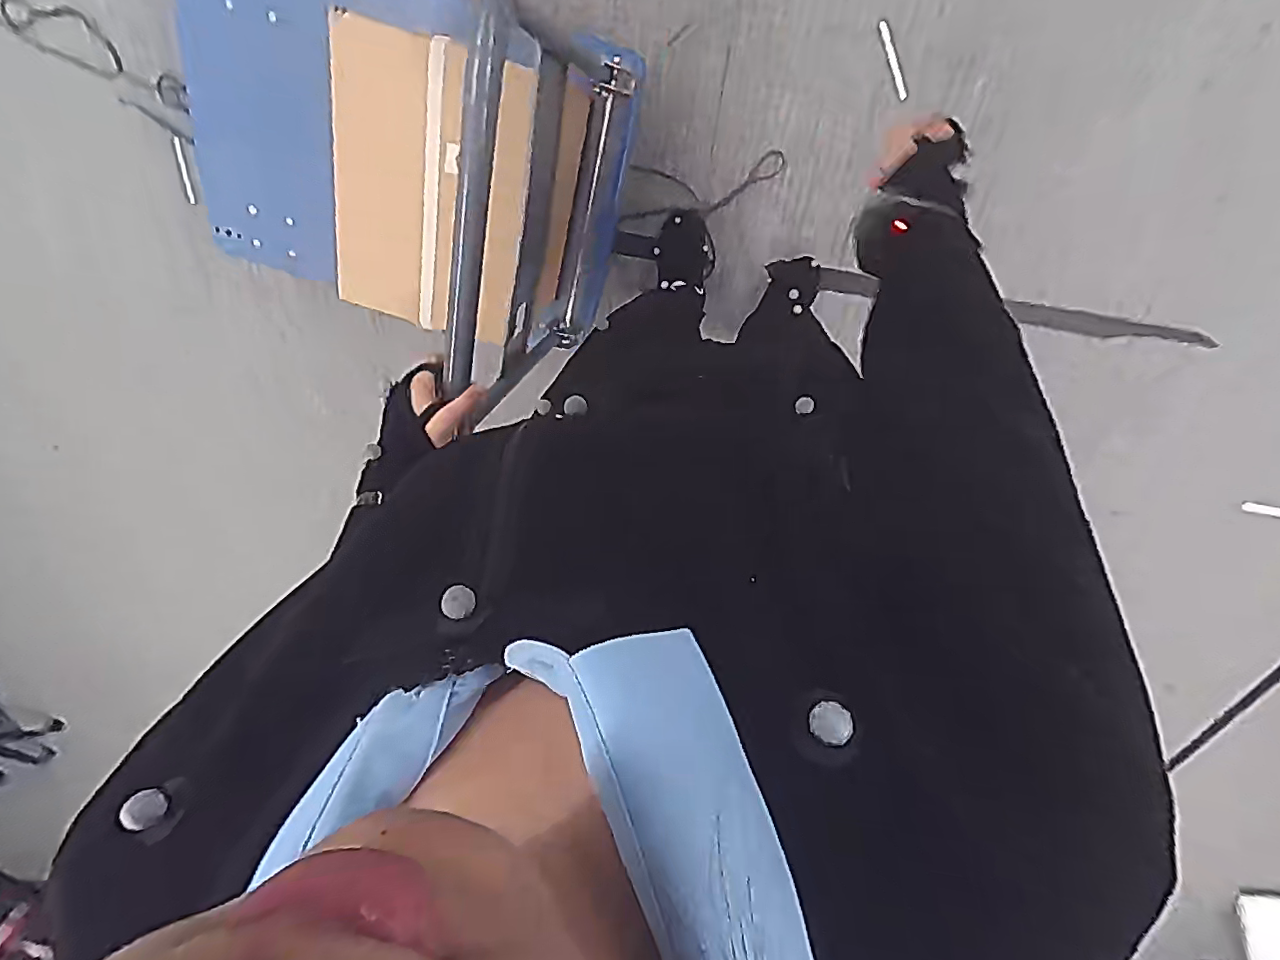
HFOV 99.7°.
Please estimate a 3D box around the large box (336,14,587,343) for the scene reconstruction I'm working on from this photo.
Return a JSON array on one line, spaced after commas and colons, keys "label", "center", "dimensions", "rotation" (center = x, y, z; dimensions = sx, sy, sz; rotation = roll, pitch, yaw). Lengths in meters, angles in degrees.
[{"label": "large box", "center": [-0.304, -0.515, 0.980], "dimensions": [0.320, 0.320, 0.408], "rotation": [15, 120, -3]}]
